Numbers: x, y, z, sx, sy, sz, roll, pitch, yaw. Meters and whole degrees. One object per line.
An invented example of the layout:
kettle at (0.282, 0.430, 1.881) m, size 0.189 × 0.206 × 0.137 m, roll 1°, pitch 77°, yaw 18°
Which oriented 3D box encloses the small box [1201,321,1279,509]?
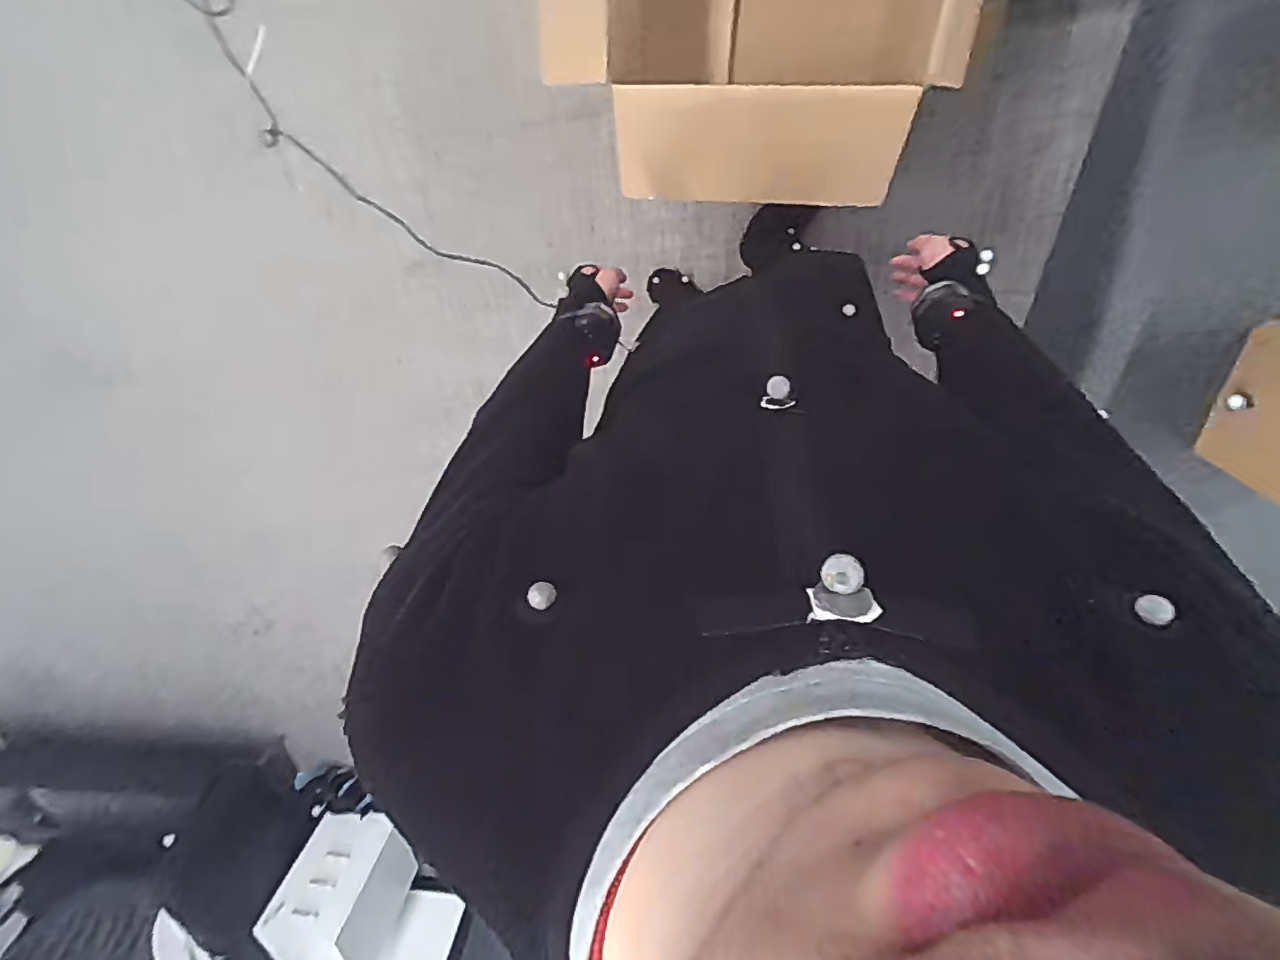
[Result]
small box at (0.806, -0.069, 0.606) m, size 0.168 × 0.176 × 0.179 m, roll 2°, pitch 121°, yaw 8°
